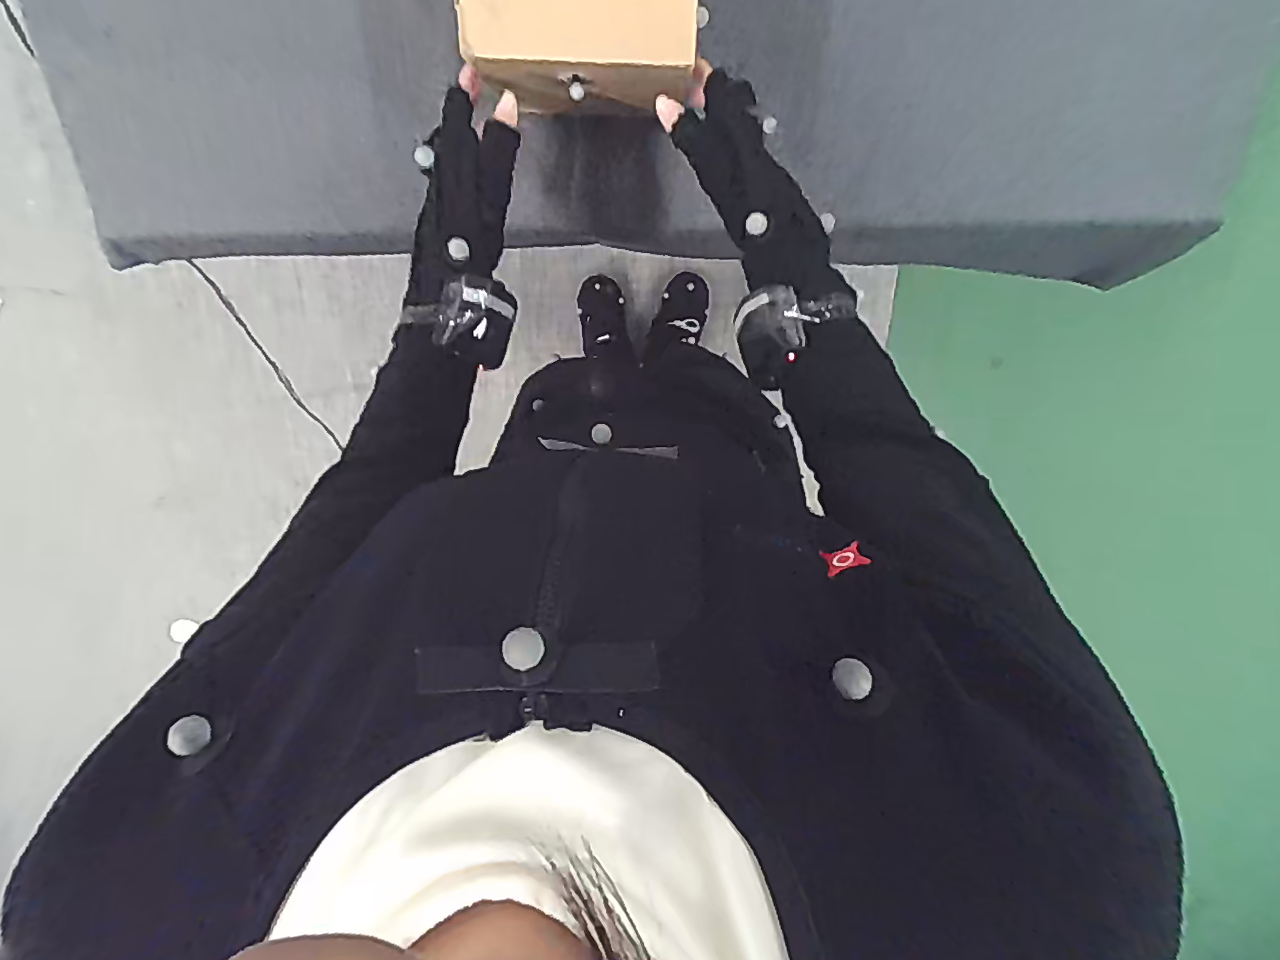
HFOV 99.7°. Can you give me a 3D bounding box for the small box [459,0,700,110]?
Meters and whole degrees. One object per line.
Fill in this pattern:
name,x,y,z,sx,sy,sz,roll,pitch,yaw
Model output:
small box,-0.040,-0.418,0.442,0.179,0.176,0.168,1,114,1
